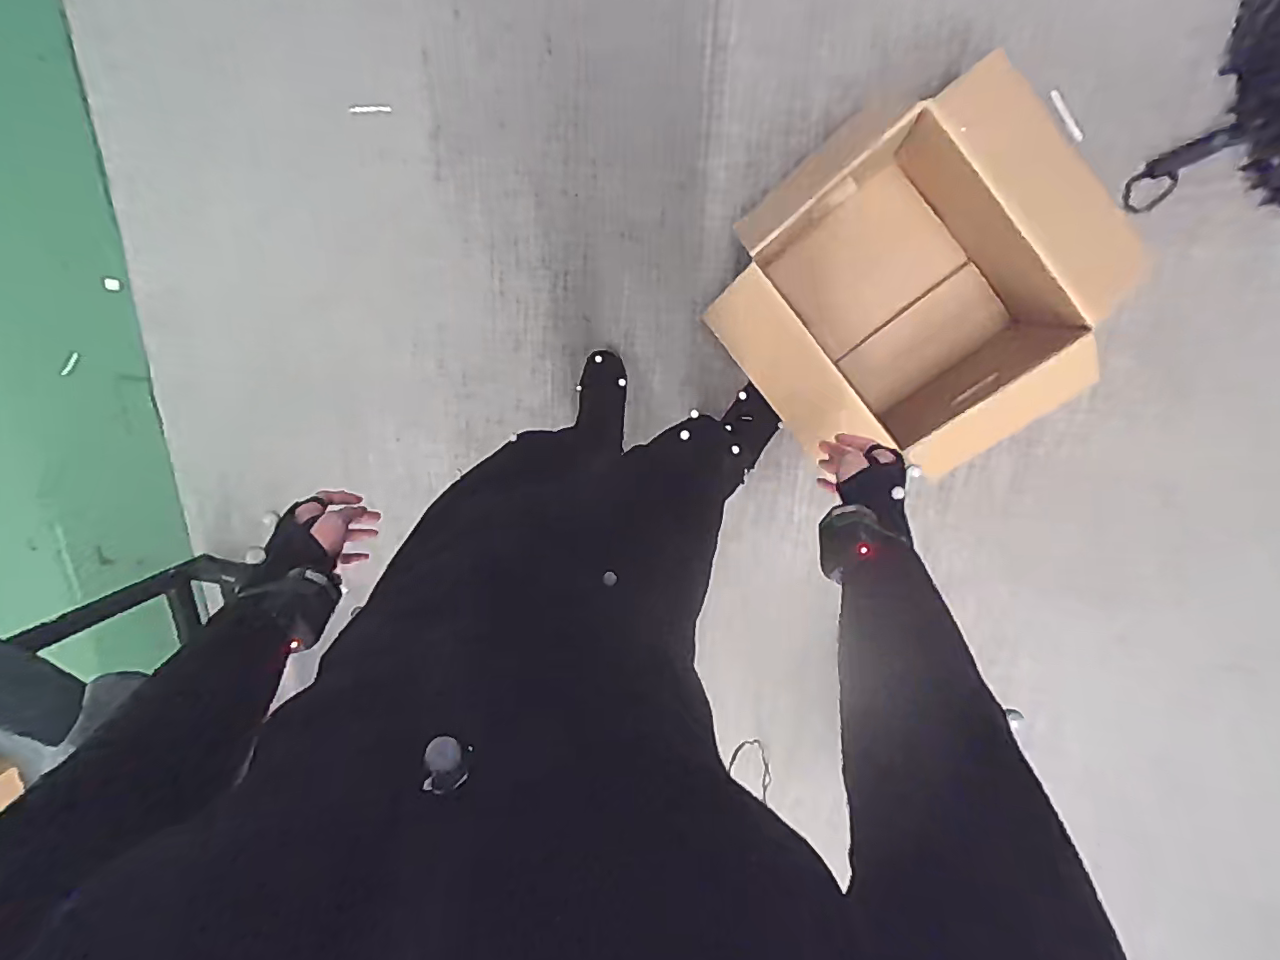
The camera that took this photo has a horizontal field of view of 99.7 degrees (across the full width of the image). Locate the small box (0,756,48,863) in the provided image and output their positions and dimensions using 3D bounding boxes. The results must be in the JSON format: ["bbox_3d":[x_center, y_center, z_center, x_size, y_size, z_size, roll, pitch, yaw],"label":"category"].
[{"bbox_3d":[-1.360,0.687,1.087,0.168,0.176,0.179,12,109,12],"label":"small box"}]
